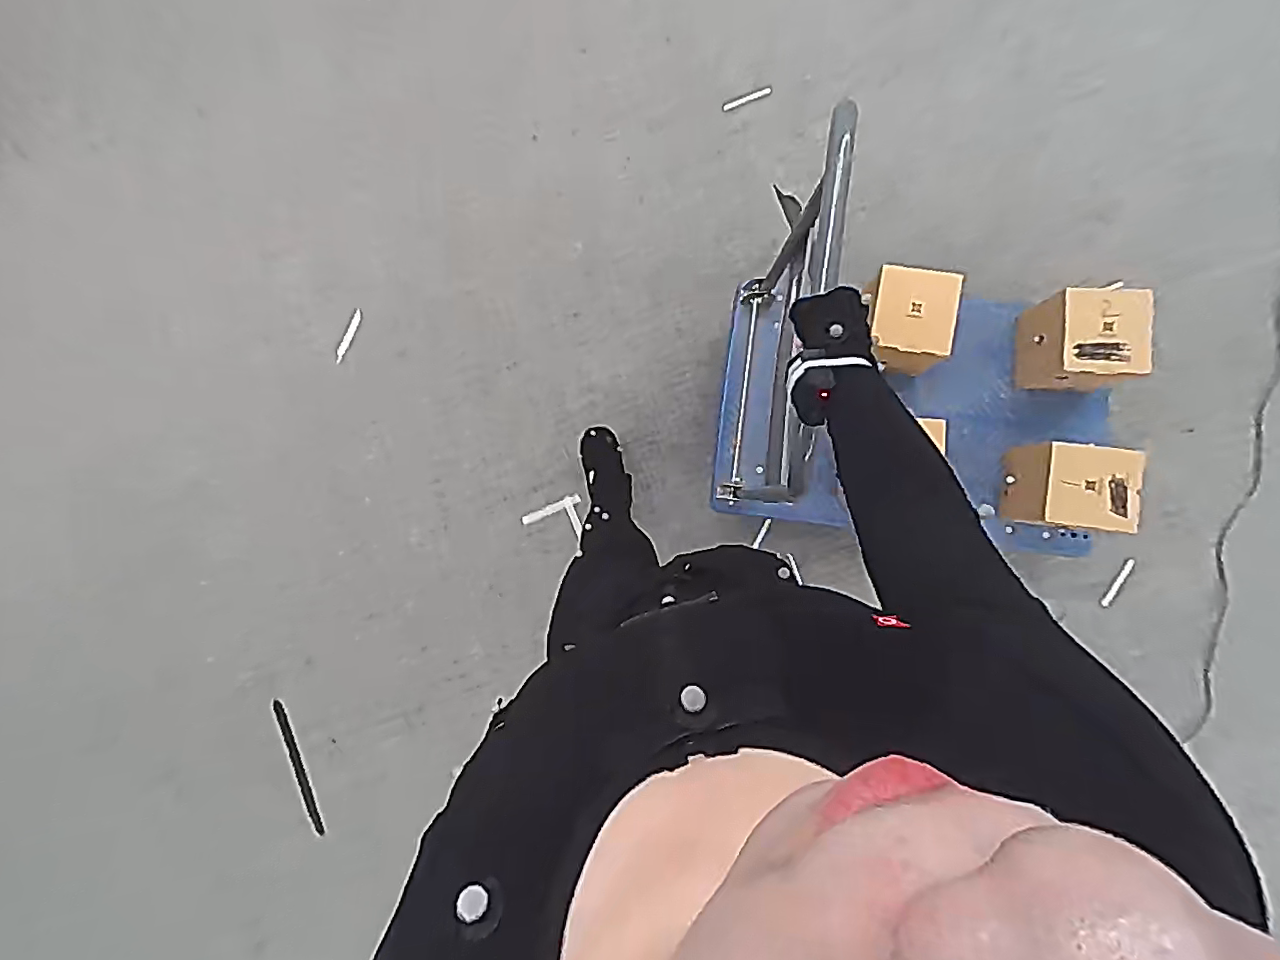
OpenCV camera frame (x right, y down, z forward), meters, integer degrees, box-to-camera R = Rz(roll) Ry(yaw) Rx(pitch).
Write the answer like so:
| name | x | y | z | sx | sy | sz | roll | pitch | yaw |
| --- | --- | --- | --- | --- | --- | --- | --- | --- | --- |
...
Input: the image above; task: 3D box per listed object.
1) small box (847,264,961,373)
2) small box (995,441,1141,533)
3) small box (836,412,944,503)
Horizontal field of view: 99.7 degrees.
| name | x | y | z | sx | sy | sz | roll | pitch | yaw |
| --- | --- | --- | --- | --- | --- | --- | --- | --- | --- |
| small box | 0.578 | -0.352 | 1.204 | 0.168 | 0.176 | 0.179 | 10 | 89 | 5 |
| small box | 0.908 | 0.016 | 1.161 | 0.179 | 0.176 | 0.168 | 8 | 88 | 6 |
| small box | 0.541 | -0.044 | 1.191 | 0.168 | 0.176 | 0.179 | 5 | 88 | 5 |
